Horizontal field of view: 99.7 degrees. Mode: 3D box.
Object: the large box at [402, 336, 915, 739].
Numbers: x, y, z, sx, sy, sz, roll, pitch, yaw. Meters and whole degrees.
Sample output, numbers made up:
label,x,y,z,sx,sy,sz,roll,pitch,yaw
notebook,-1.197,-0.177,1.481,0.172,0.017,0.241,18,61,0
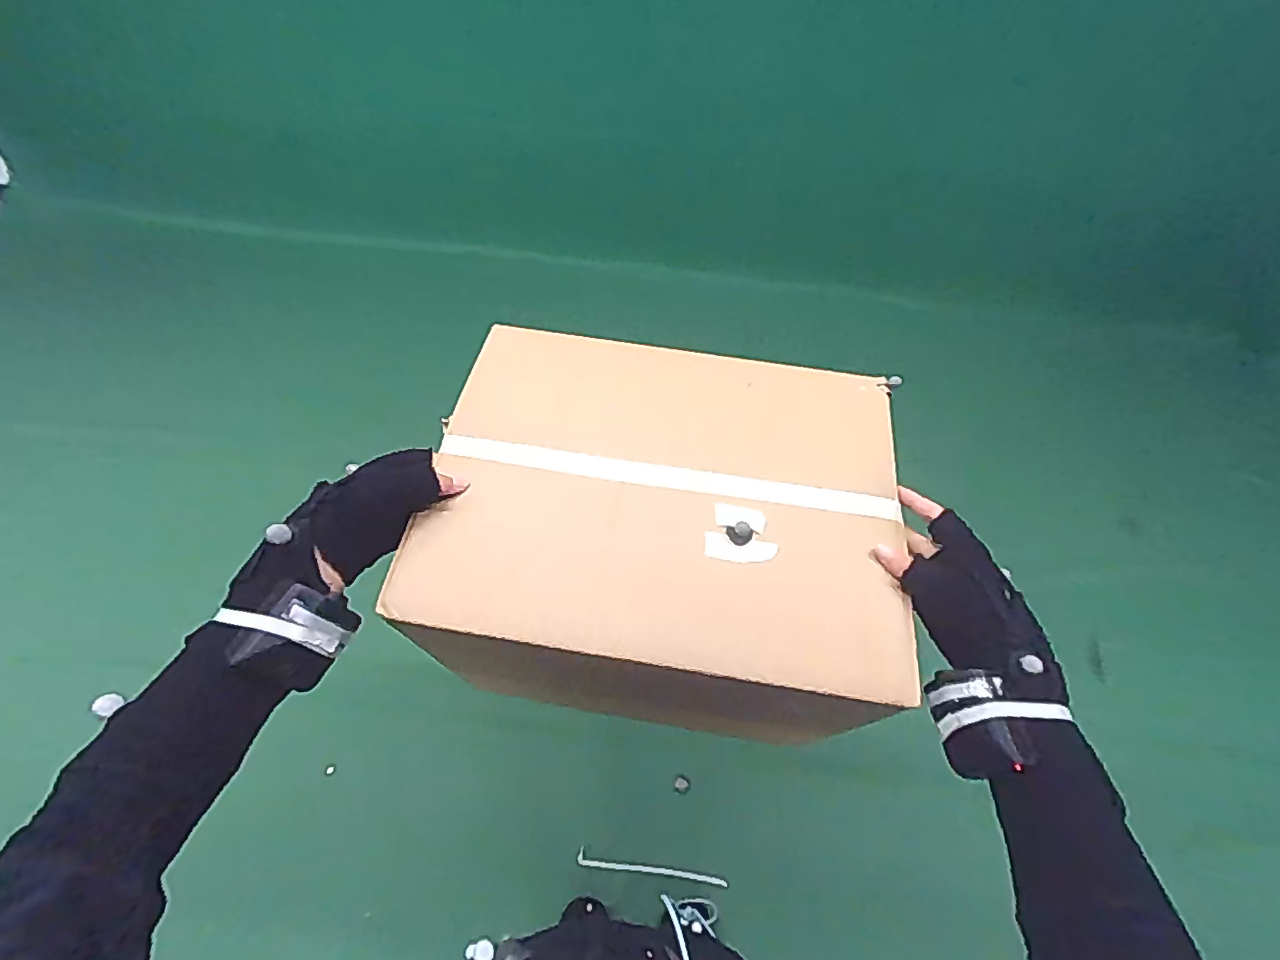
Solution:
label,x,y,z,sx,sy,sz,roll,pitch,yaw
large box,0.023,0.080,0.613,0.408,0.320,0.320,9,59,2
